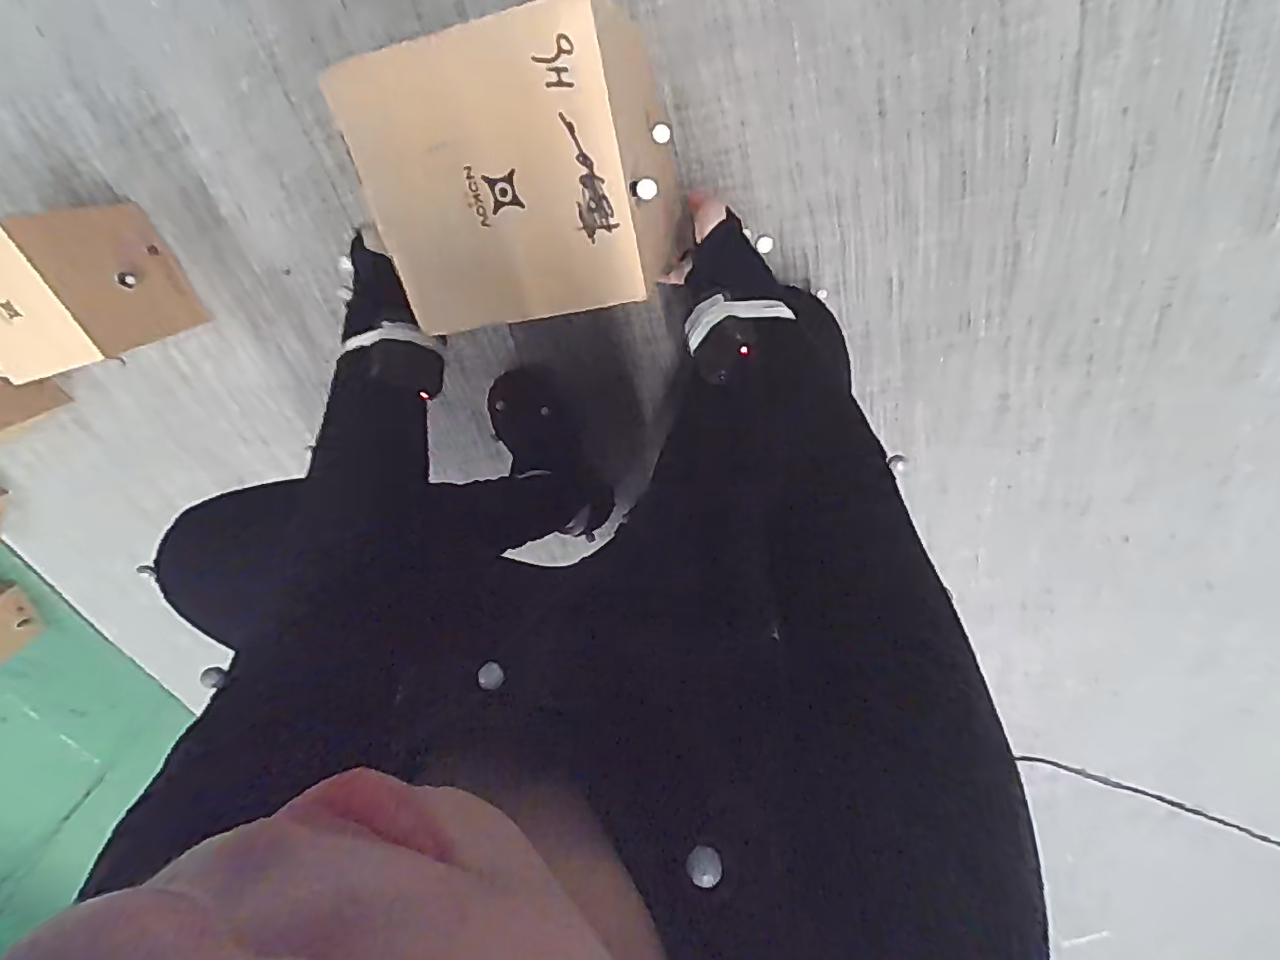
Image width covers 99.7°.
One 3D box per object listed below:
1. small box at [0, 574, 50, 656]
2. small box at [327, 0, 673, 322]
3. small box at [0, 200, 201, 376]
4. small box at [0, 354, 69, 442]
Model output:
[{"bbox_3d":[-1.564,0.322,1.255,0.179,0.176,0.168,12,124,3],"label":"small box"},{"bbox_3d":[-0.080,-0.235,0.412,0.179,0.176,0.168,-5,122,14],"label":"small box"},{"bbox_3d":[-0.743,-0.258,0.718,0.179,0.176,0.168,-8,120,15],"label":"small box"},{"bbox_3d":[-1.094,-0.139,0.862,0.179,0.176,0.168,-20,117,21],"label":"small box"}]
